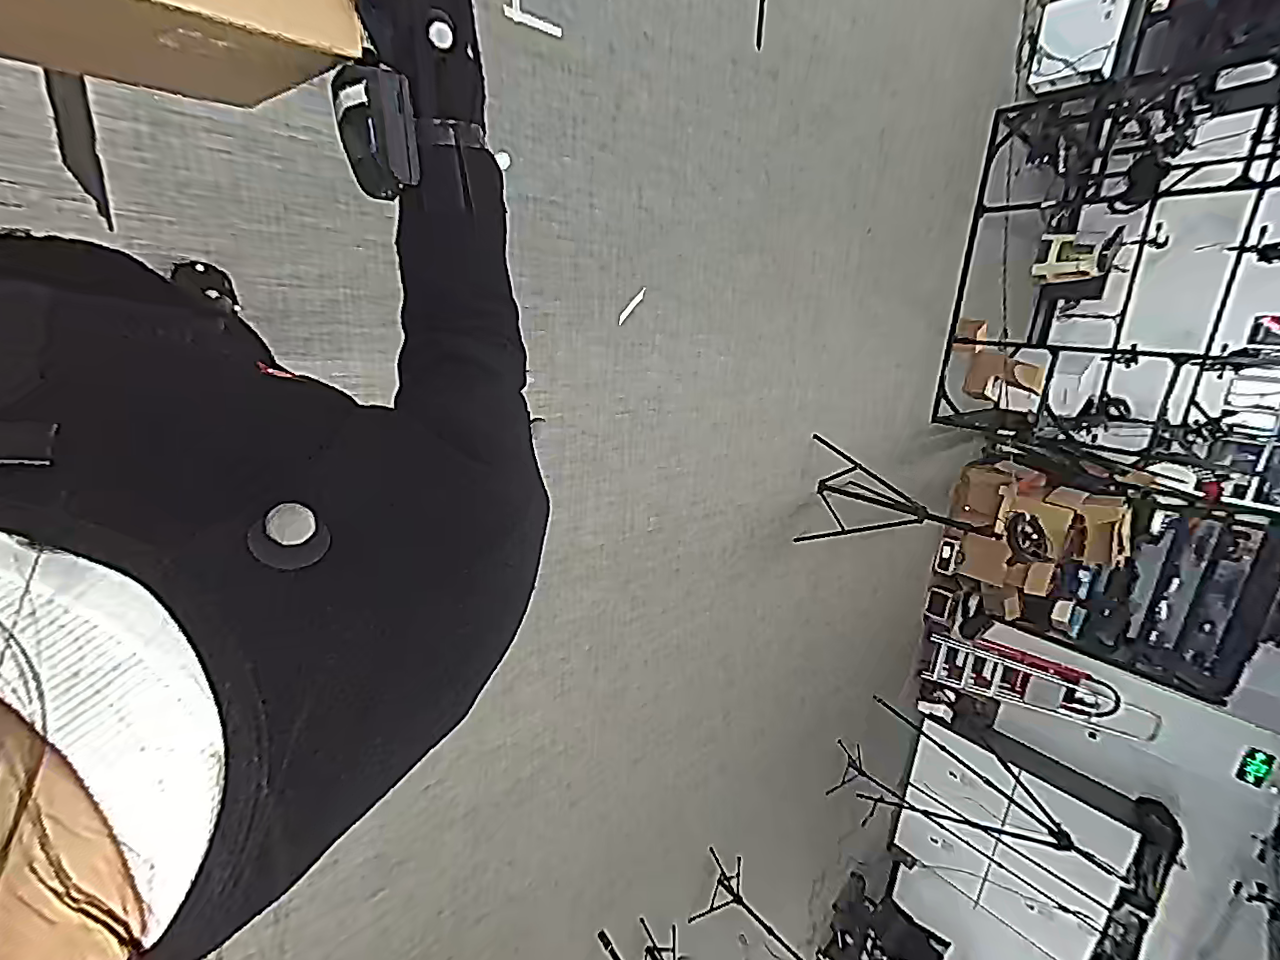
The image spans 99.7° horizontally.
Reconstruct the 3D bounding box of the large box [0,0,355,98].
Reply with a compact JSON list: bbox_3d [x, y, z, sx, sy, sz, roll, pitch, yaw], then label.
[{"bbox_3d":[-0.403,-0.403,0.230,0.408,0.320,0.320,-16,123,-41],"label":"large box"}]
